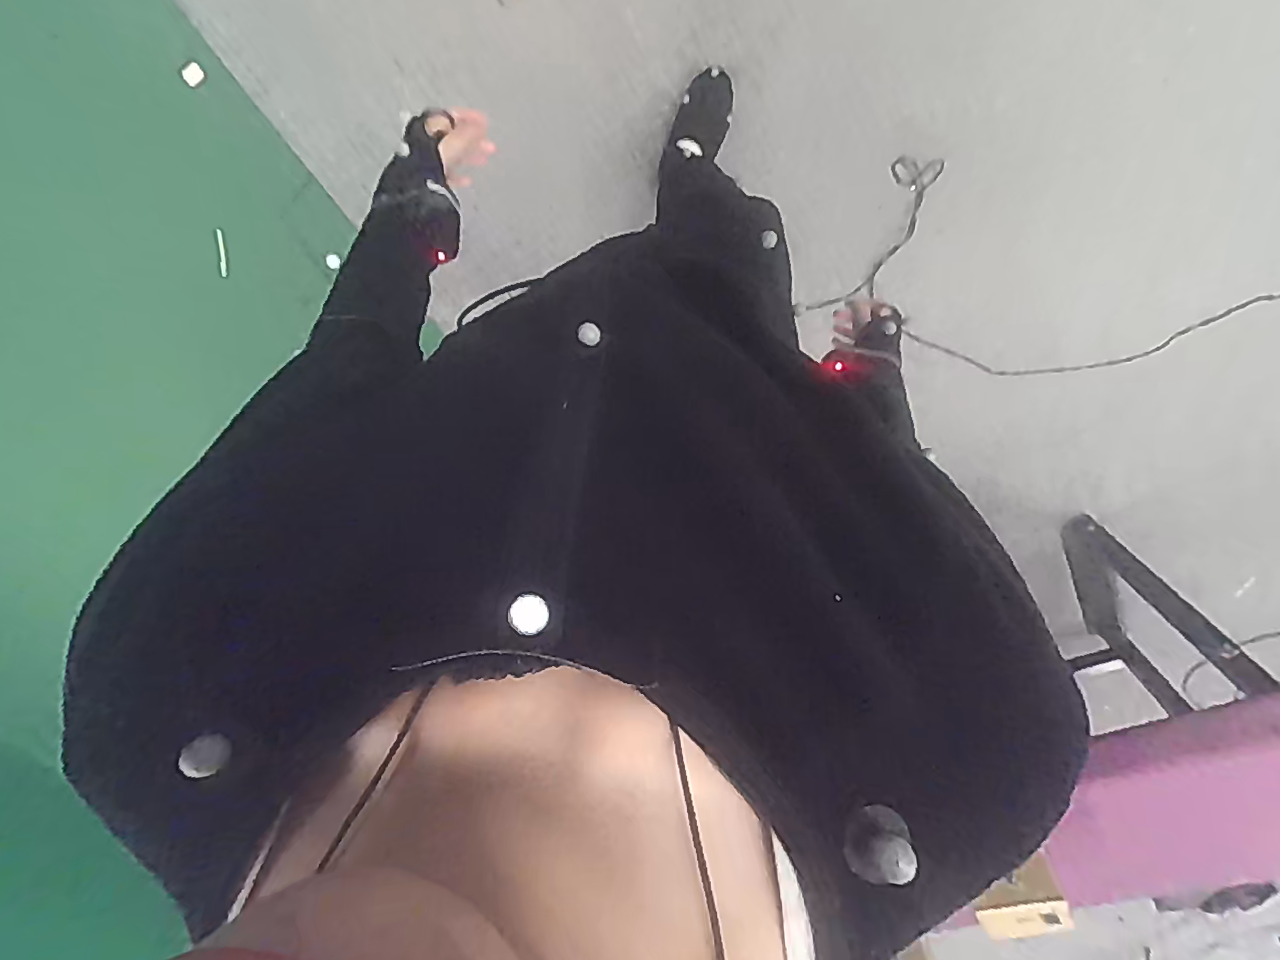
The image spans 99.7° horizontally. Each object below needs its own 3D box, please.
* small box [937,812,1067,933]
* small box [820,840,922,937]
[{"bbox_3d":[0.799,0.869,1.204,0.179,0.176,0.168,-24,119,18],"label":"small box"},{"bbox_3d":[0.547,0.988,1.292,0.168,0.176,0.179,-21,119,14],"label":"small box"}]
